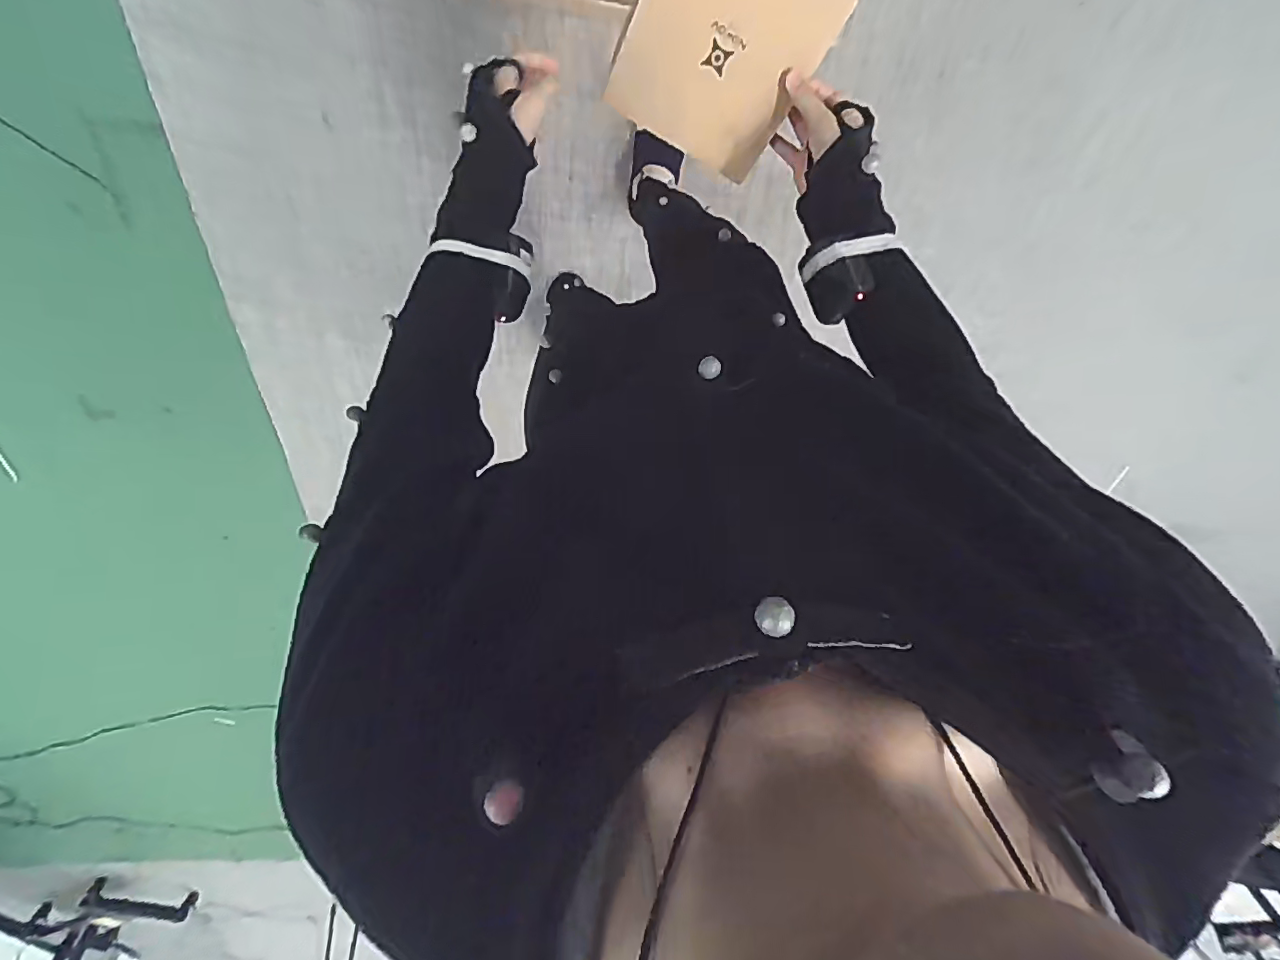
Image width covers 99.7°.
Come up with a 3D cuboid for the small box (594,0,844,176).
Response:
[{"bbox_3d":[0.073,-0.454,0.534,0.168,0.176,0.179,21,138,-17],"label":"small box"}]
